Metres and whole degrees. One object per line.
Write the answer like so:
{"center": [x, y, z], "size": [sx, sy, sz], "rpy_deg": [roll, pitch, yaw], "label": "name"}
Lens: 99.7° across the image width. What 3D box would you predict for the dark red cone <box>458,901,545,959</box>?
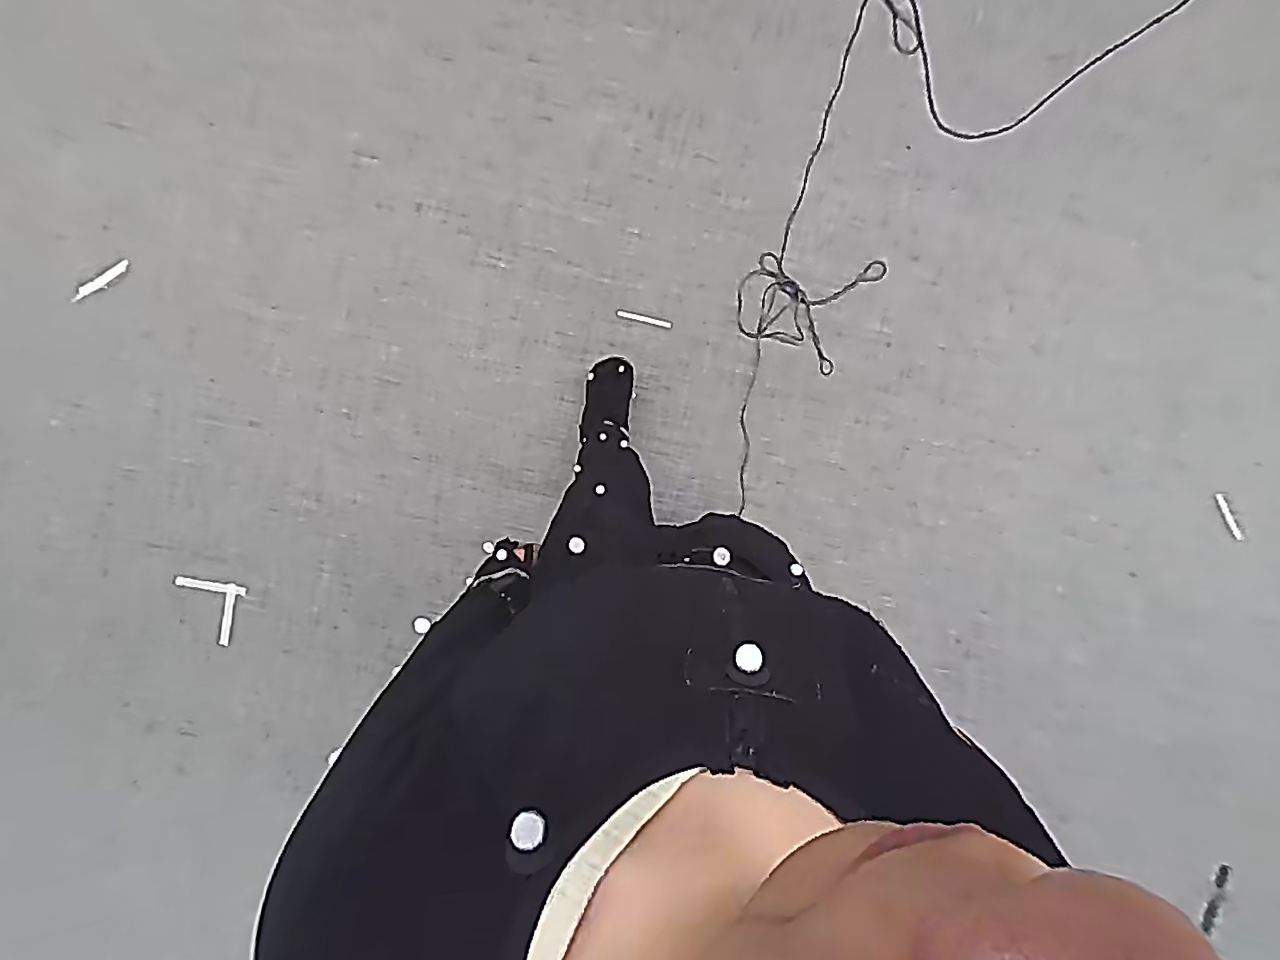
{"center": [-0.345, 1.189, 1.215], "size": [0.201, 0.394, 0.202], "rpy_deg": [12, 92, -3], "label": "dark red cone"}
